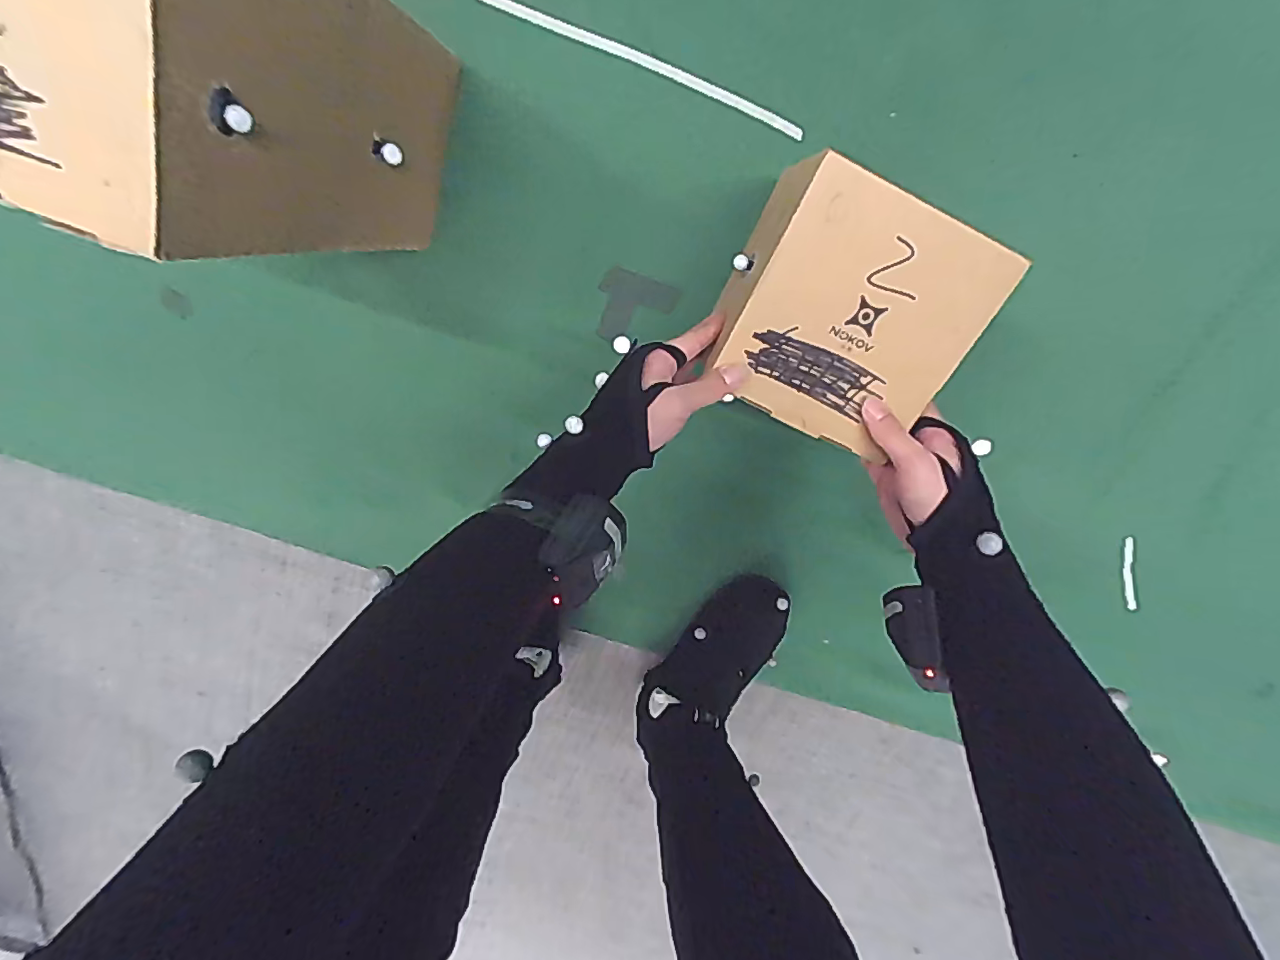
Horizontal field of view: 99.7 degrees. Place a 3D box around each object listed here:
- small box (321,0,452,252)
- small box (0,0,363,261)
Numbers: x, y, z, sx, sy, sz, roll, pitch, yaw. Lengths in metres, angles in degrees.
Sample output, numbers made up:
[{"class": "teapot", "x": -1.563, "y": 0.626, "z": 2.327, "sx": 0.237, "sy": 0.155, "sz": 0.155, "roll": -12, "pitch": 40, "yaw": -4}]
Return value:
[{"class": "small box", "x": -0.273, "y": -0.309, "z": 0.449, "sx": 0.168, "sy": 0.176, "sz": 0.179, "roll": 19, "pitch": 114, "yaw": -6}, {"class": "small box", "x": -0.280, "y": -0.242, "z": 0.300, "sx": 0.168, "sy": 0.176, "sz": 0.179, "roll": 19, "pitch": 114, "yaw": -6}]
